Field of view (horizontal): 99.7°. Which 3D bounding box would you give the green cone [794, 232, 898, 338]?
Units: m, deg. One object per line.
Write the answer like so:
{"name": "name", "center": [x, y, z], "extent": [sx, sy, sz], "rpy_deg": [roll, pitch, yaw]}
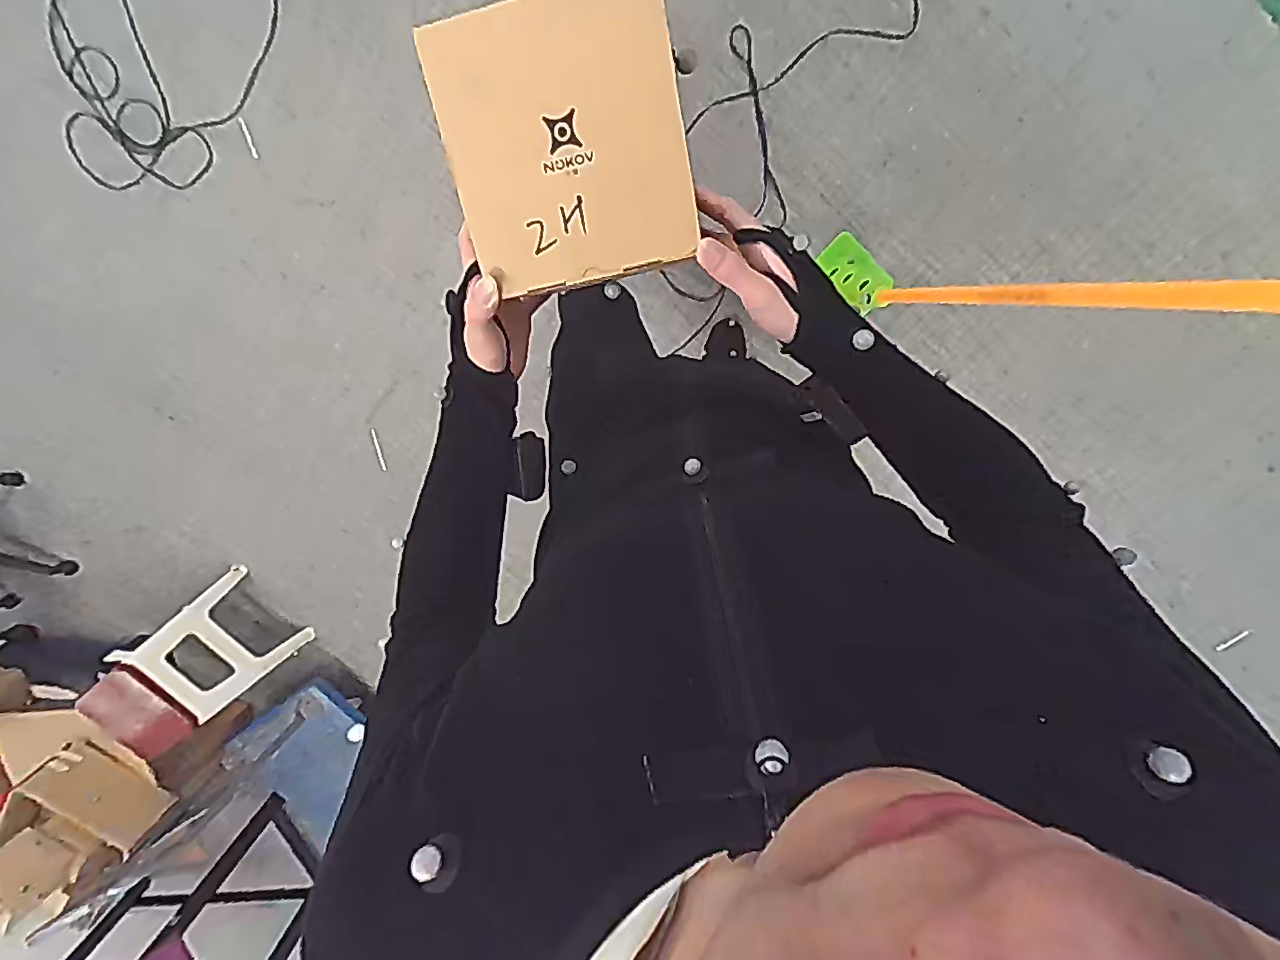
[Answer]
{"name": "green cone", "center": [0.512, -0.437, 1.231], "extent": [0.202, 0.368, 0.200], "rpy_deg": [40, 109, -9]}
